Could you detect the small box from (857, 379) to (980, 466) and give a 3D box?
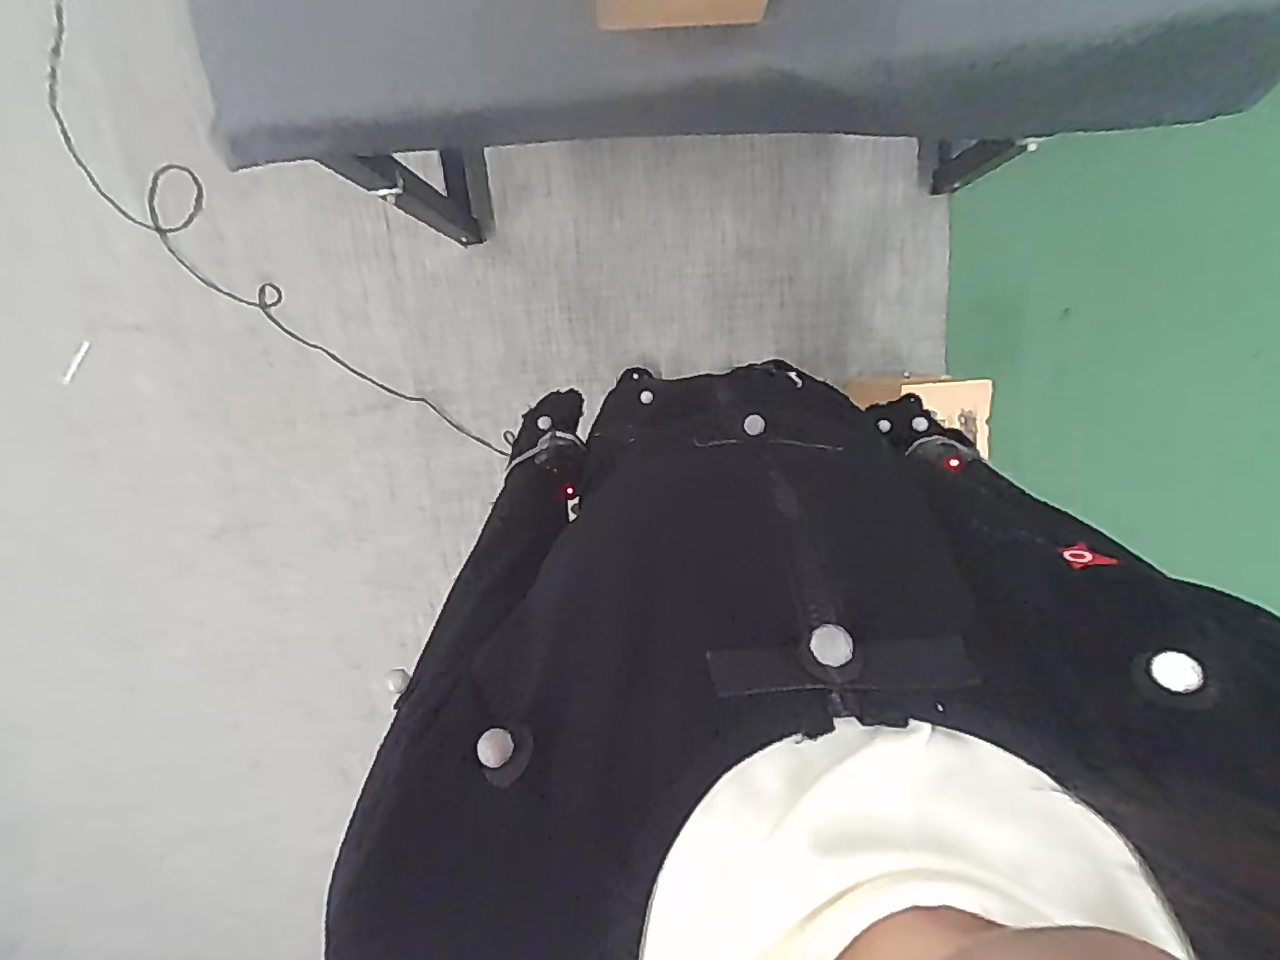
[{"bbox_3d":[0.582,-0.128,1.149,0.179,0.176,0.168,-2,101,2],"label":"small box"}]

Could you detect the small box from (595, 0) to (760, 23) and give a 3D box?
[{"bbox_3d":[0.036,-0.553,0.484,0.179,0.176,0.168,-1,102,1],"label":"small box"}]

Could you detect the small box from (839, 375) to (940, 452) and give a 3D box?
[{"bbox_3d":[0.597,-0.164,1.310,0.179,0.176,0.168,-5,101,3],"label":"small box"}]
